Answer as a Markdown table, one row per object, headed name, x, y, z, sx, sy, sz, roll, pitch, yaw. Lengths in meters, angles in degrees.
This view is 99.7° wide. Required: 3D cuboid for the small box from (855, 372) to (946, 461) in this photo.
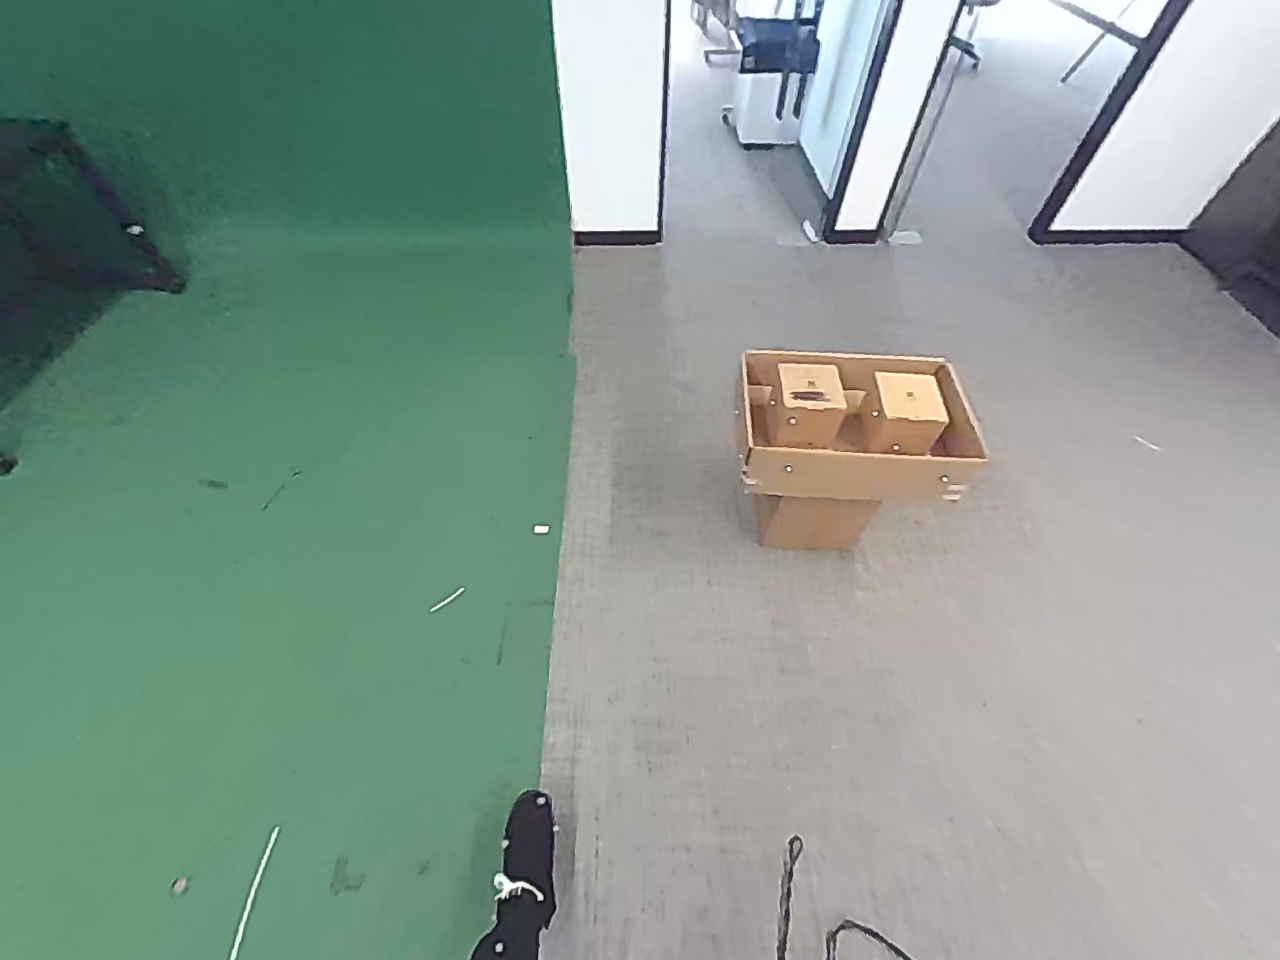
| name | x | y | z | sx | sy | sz | roll | pitch | yaw |
| --- | --- | --- | --- | --- | --- | --- | --- | --- | --- |
| small box | 0.722 | -0.178 | 1.523 | 0.168 | 0.176 | 0.179 | 4 | 54 | 2 |
